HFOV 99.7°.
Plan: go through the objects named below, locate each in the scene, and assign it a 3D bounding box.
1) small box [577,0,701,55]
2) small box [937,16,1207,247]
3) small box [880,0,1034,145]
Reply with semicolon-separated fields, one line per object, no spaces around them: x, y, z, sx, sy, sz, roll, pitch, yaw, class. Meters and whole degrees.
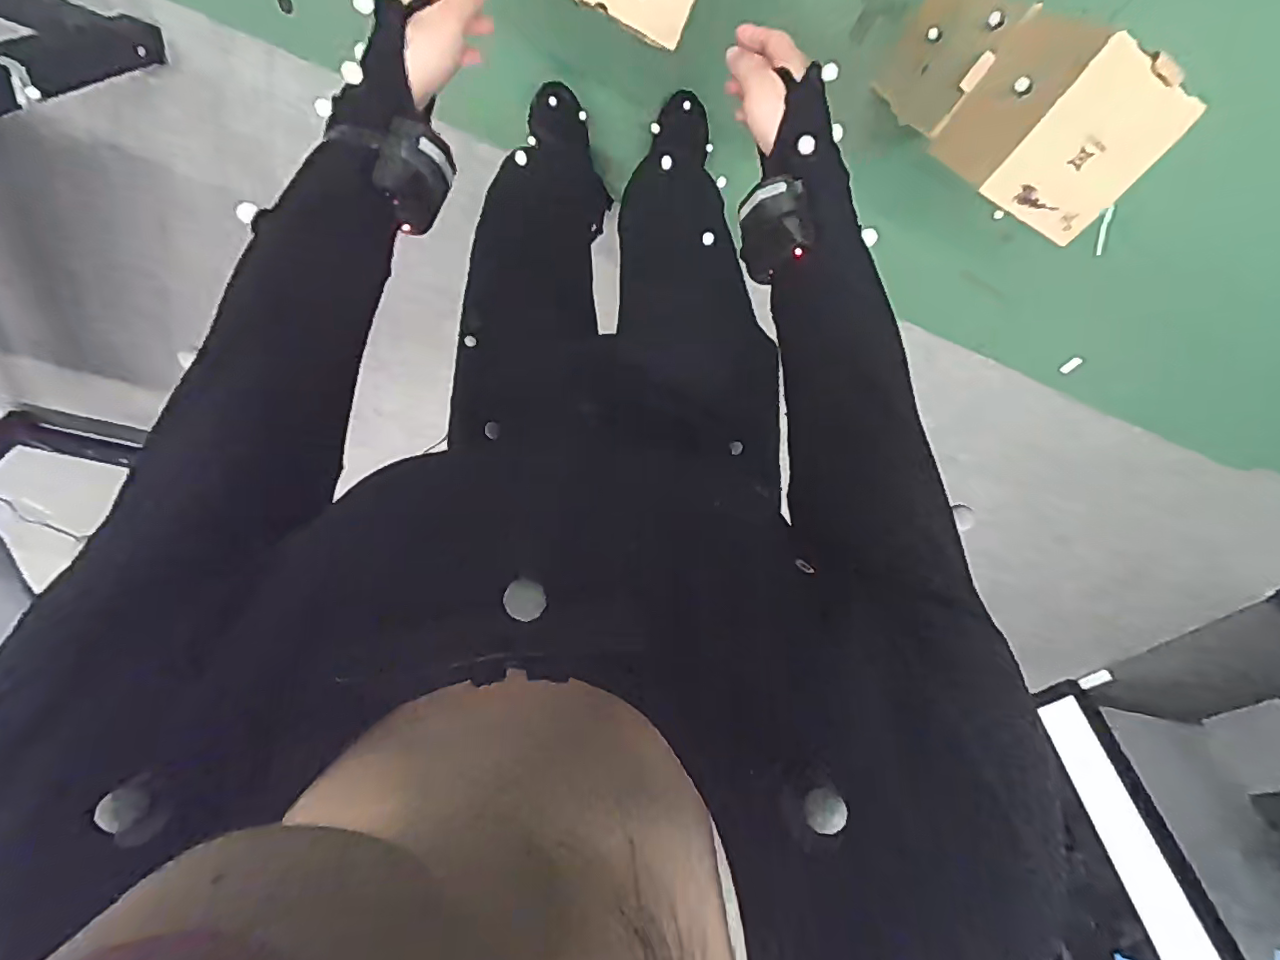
0.004;-0.575;0.535;0.168;0.176;0.179;17;134;-17;small box
0.527;-0.442;0.688;0.168;0.176;0.179;17;134;-20;small box
0.532;-0.690;0.906;0.168;0.176;0.179;21;133;-23;small box
